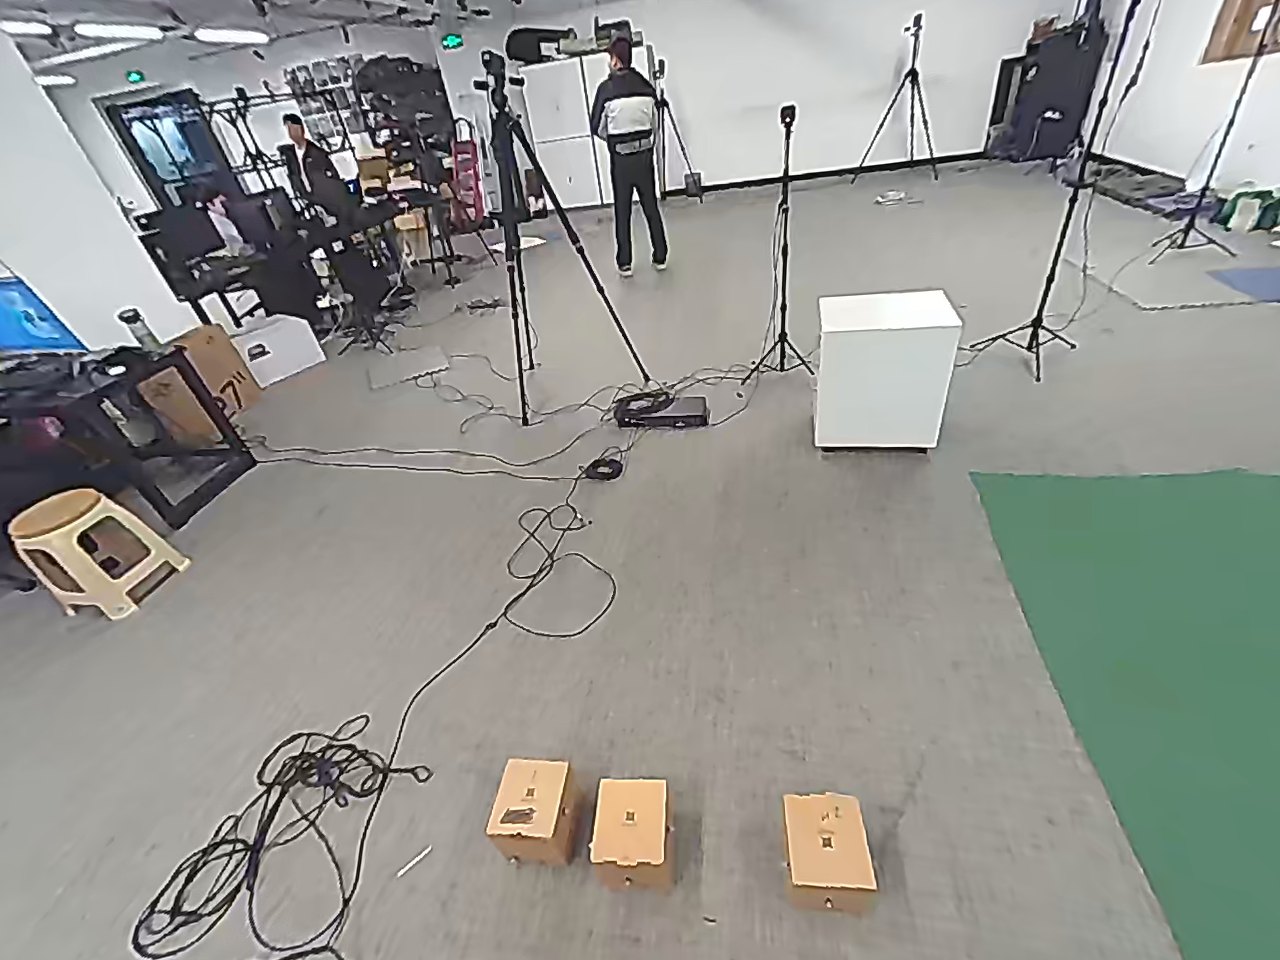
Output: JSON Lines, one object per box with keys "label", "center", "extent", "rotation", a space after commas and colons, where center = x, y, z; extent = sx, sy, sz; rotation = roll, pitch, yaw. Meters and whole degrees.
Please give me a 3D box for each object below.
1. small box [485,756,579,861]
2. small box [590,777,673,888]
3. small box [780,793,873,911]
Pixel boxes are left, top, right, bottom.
{"label": "small box", "center": [-0.259, 0.824, 1.353], "extent": [0.168, 0.176, 0.179], "rotation": [-2, 37, 10]}
{"label": "small box", "center": [-0.013, 0.835, 1.286], "extent": [0.168, 0.176, 0.179], "rotation": [-4, 38, 8]}
{"label": "small box", "center": [0.405, 0.828, 1.202], "extent": [0.168, 0.176, 0.179], "rotation": [-2, 38, 8]}
